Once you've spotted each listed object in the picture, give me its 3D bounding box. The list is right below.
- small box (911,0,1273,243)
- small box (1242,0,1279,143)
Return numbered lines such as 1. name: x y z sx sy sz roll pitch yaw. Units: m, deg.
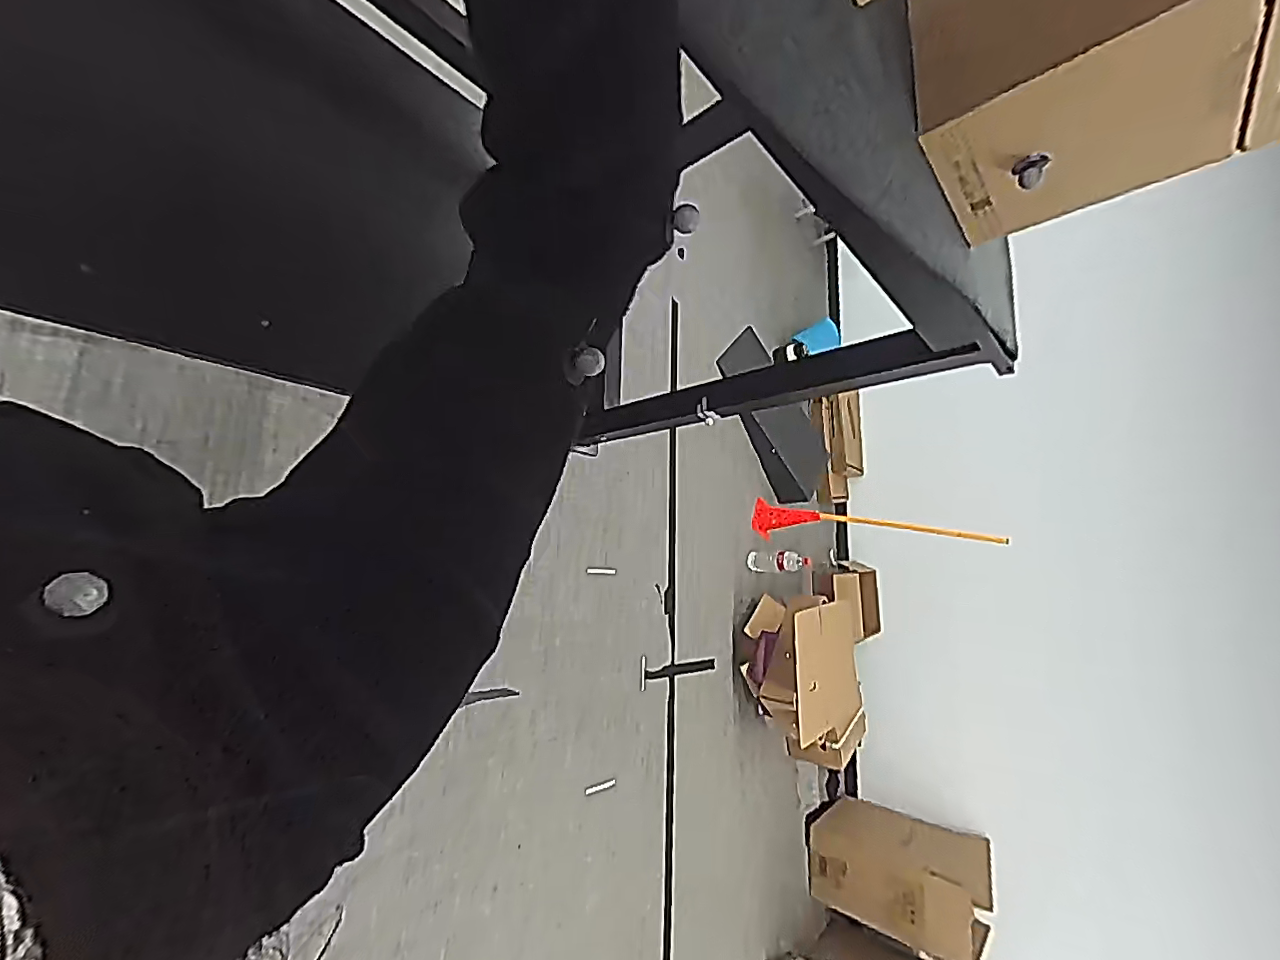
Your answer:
1. small box: 0.314 -0.317 0.399 0.168 0.176 0.179 14 73 -46
2. small box: 0.437 -0.335 0.293 0.168 0.176 0.179 16 73 -46
